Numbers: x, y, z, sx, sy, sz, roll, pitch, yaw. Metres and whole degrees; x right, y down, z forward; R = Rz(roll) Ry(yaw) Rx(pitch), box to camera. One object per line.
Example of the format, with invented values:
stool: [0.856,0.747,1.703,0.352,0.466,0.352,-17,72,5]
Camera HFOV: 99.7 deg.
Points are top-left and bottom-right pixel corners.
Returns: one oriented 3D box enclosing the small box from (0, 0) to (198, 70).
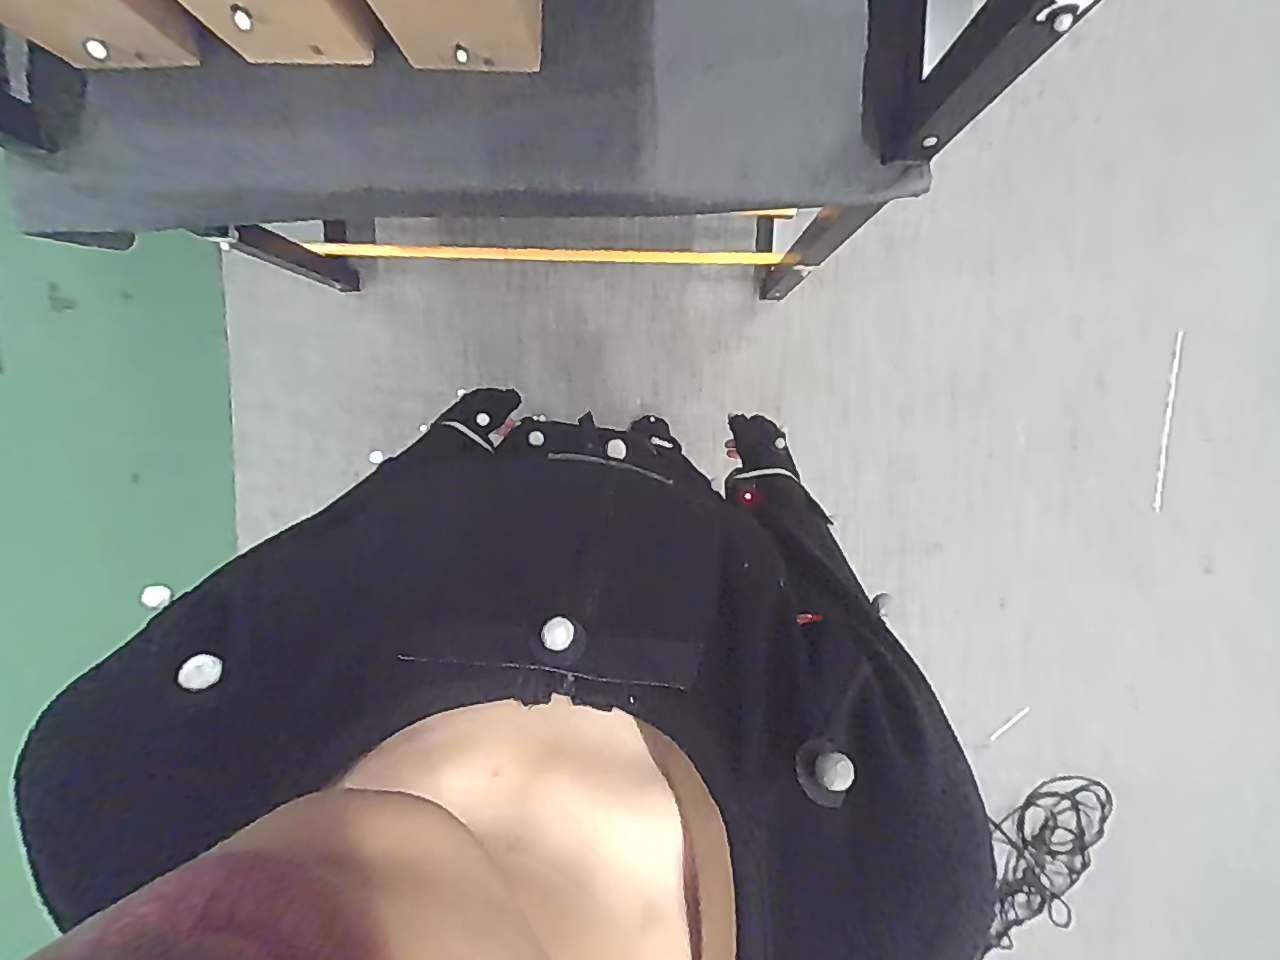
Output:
small box: [-0.648,-0.608,0.608,0.168,0.176,0.179,-1,97,2]

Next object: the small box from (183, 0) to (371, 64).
small box: [-0.421,-0.608,0.604,0.168,0.176,0.179,2,96,1]
